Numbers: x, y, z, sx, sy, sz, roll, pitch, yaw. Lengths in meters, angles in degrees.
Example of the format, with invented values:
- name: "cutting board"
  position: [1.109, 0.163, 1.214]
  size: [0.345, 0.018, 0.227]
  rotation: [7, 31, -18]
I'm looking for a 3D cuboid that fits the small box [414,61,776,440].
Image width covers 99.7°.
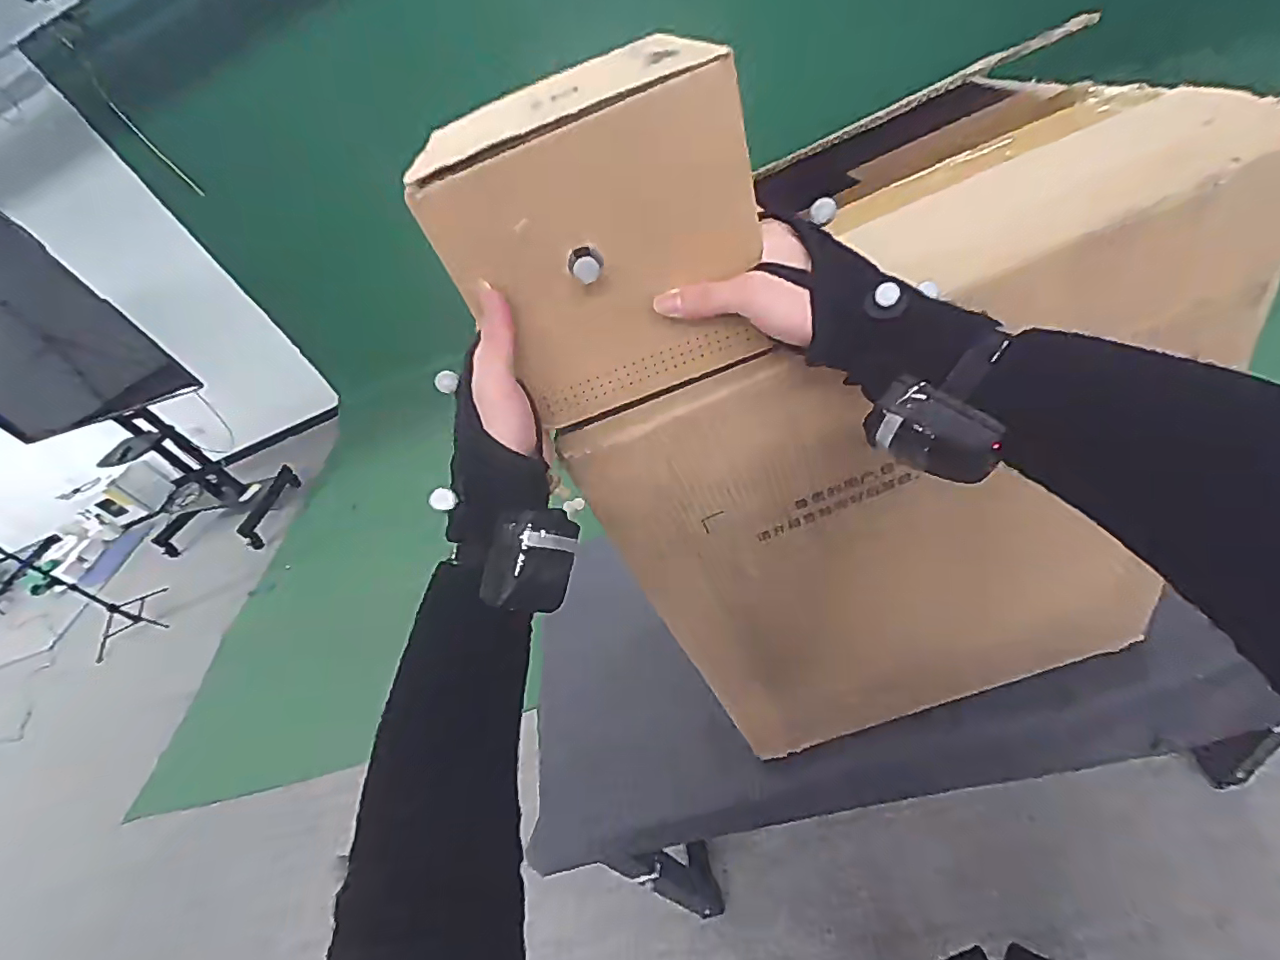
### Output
- name: "small box"
  position: [-0.023, -0.154, 0.376]
  size: [0.179, 0.176, 0.168]
  rotation: [-20, 43, 4]
